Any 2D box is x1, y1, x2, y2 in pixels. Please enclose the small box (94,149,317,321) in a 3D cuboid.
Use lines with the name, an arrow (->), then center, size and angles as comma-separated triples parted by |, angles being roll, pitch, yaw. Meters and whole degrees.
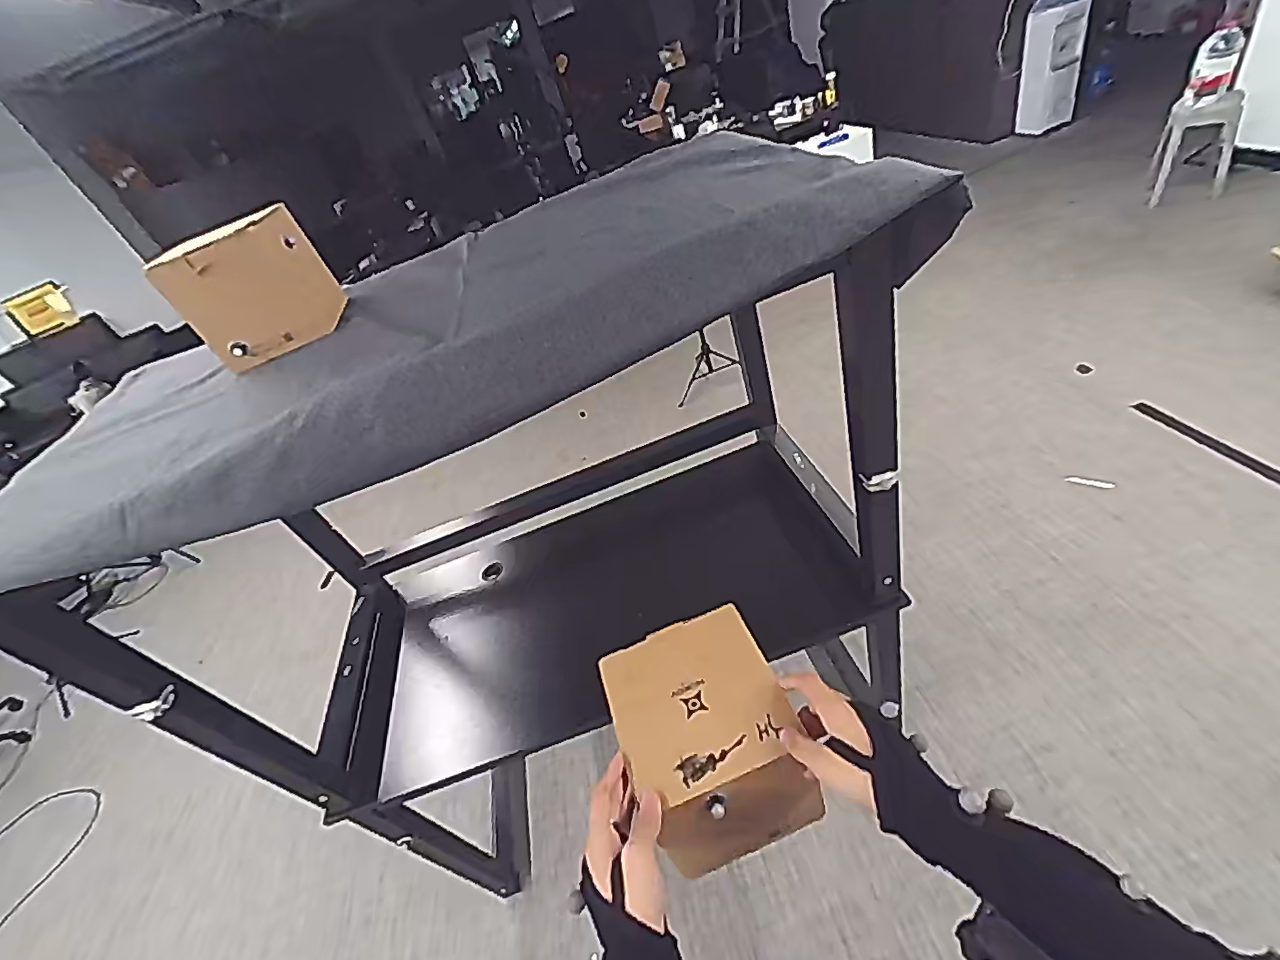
small box -> -0.615, -0.358, 0.798 | 0.168, 0.176, 0.179 | -24, 39, -2
